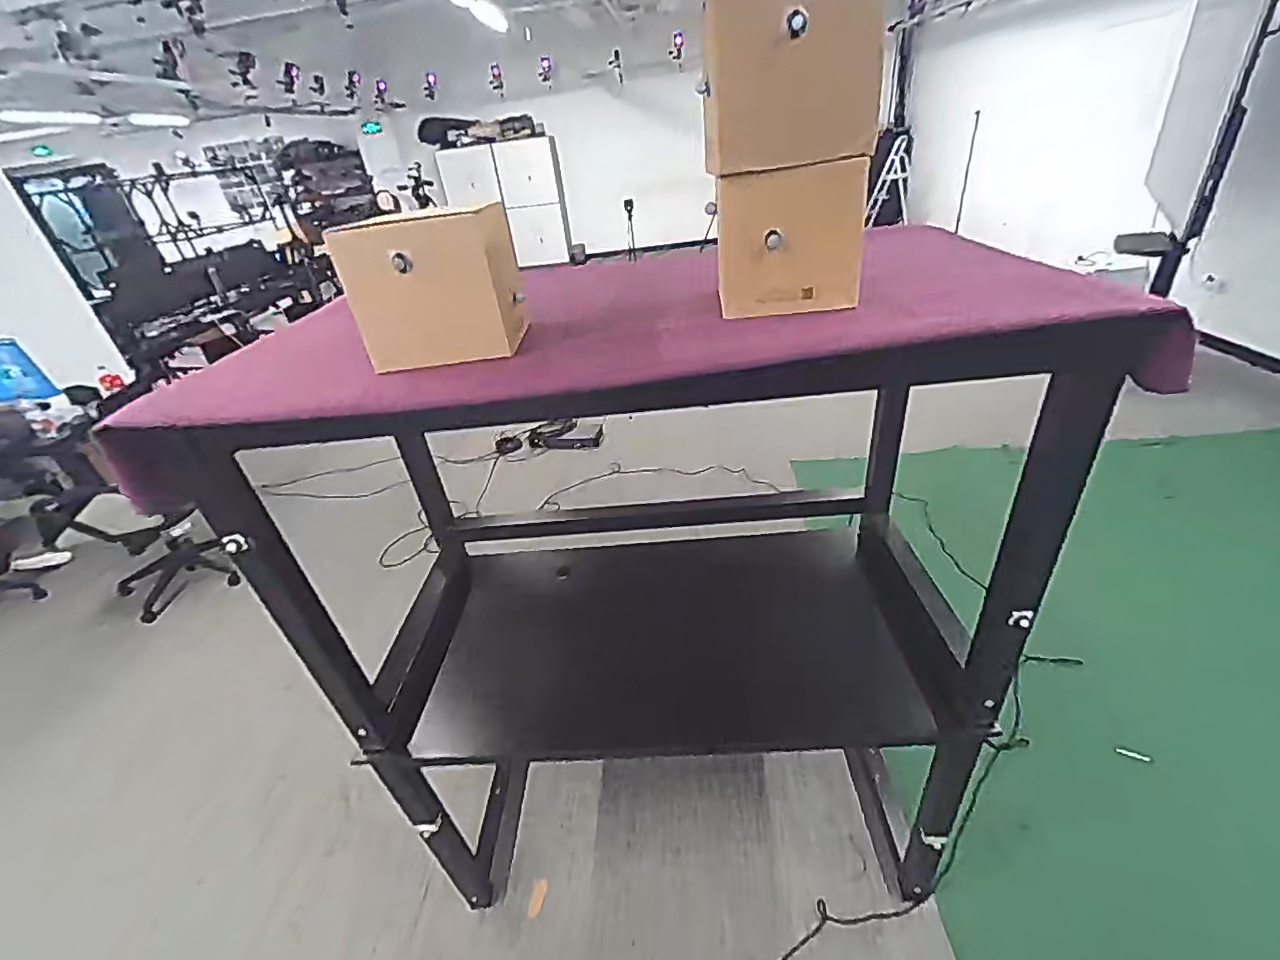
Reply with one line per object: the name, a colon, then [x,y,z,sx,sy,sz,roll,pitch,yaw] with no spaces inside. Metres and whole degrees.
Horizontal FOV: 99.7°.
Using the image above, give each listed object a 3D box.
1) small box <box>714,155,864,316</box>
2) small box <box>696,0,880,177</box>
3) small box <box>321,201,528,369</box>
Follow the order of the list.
small box: [0.186,-0.319,0.710,0.168,0.176,0.179,-4,31,8]
small box: [0.162,-0.453,0.620,0.179,0.176,0.168,-5,31,5]
small box: [-0.258,-0.250,0.696,0.179,0.176,0.168,-7,31,2]
